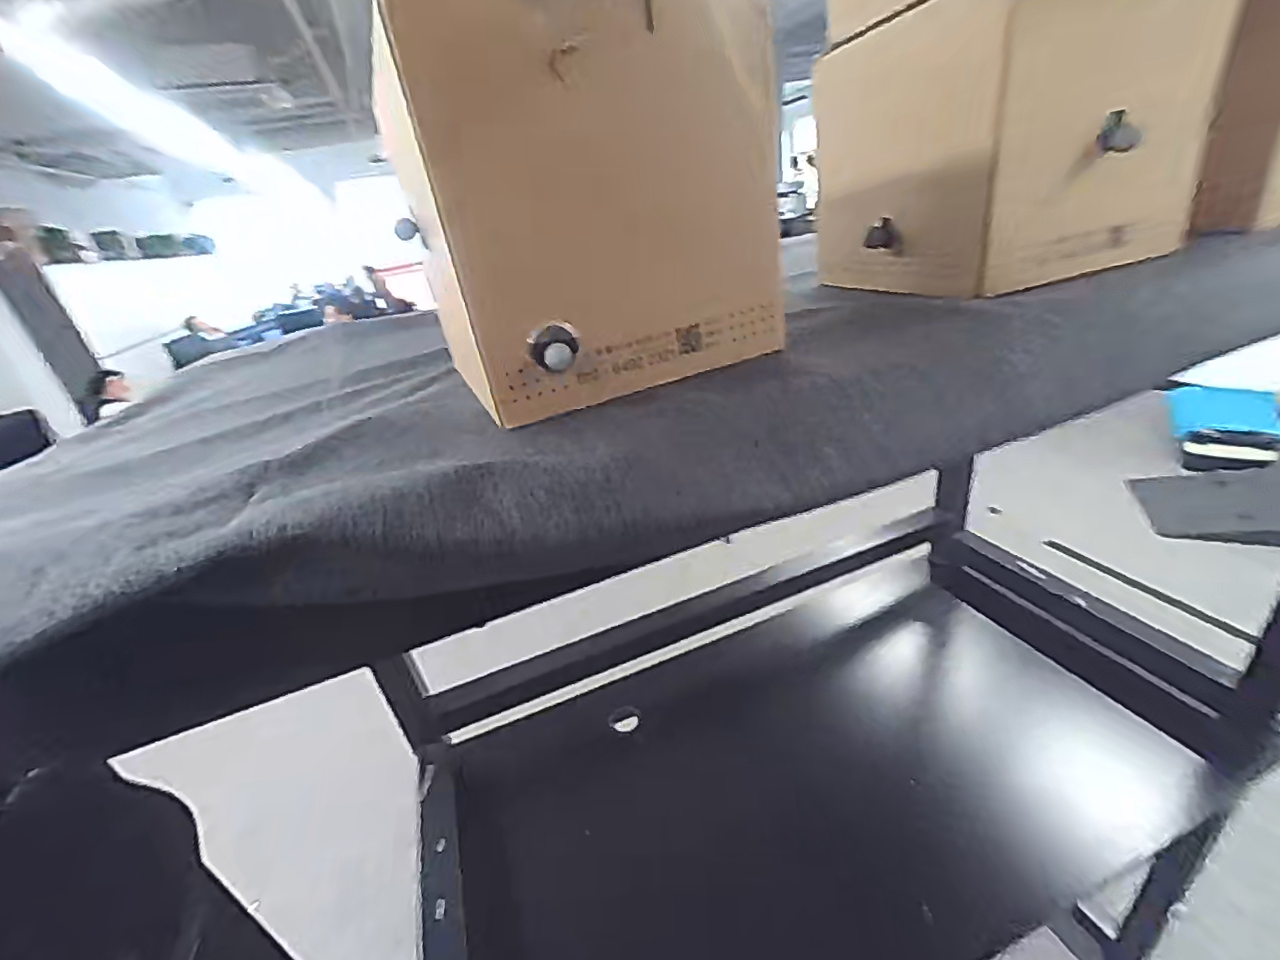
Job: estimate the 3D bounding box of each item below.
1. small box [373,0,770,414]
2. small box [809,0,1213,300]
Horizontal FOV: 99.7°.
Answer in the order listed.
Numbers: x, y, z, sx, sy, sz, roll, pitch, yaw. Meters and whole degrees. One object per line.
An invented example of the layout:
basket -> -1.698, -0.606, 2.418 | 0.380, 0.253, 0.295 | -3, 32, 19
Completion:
small box -> -0.040, -0.148, 0.318 | 0.168, 0.176, 0.179 | -19, 26, -18
small box -> 0.242, -0.233, 0.389 | 0.168, 0.176, 0.179 | -16, 27, -12
